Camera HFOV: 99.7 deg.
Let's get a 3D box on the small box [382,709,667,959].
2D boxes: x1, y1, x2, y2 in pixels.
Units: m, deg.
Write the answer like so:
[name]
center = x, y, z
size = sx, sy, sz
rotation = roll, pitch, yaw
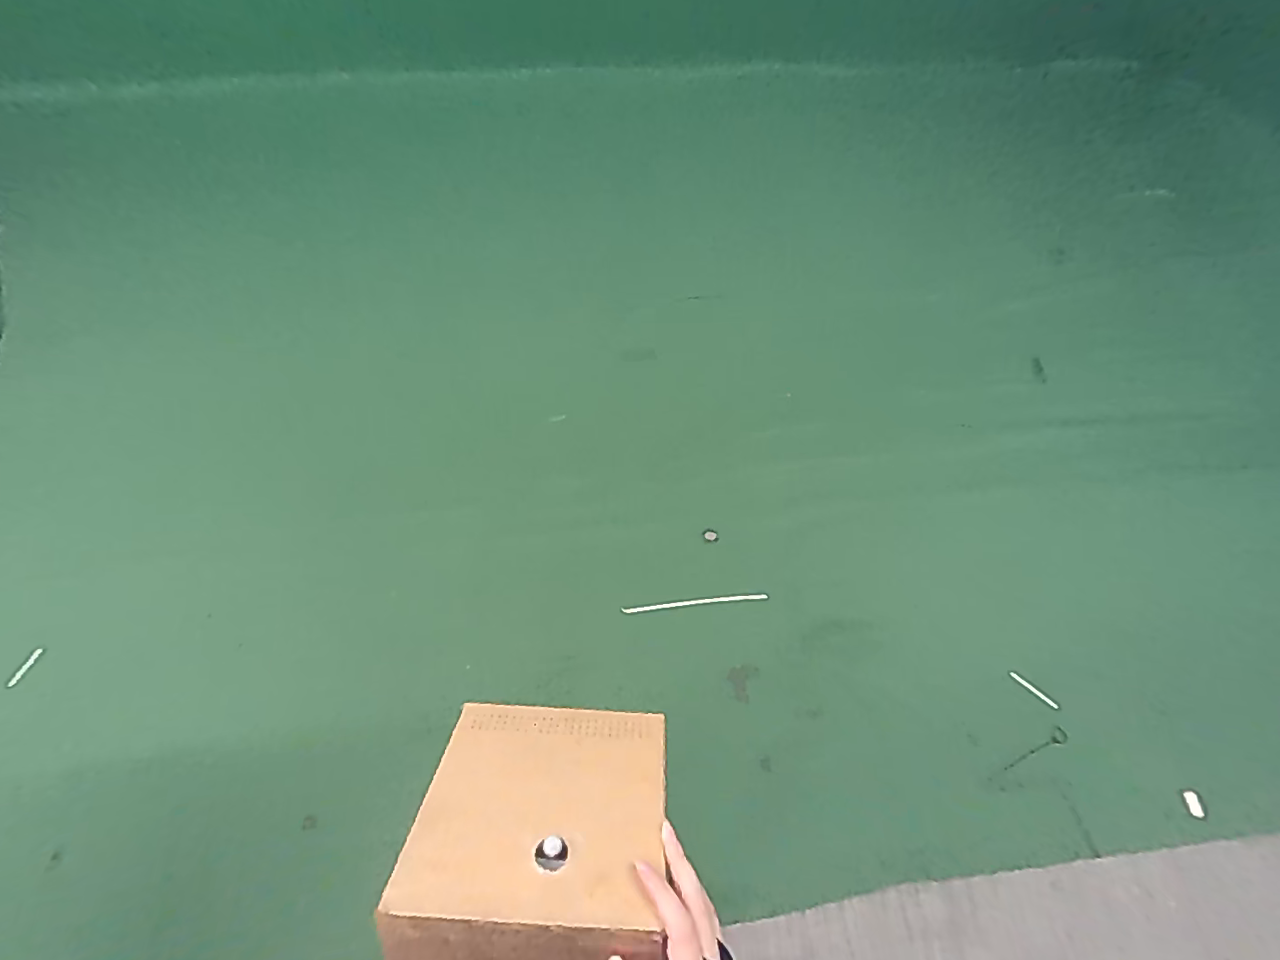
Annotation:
[small box]
center = -0.071, 0.307, 0.429
size = 0.179, 0.168, 0.176
rotation = 3, 22, 2
